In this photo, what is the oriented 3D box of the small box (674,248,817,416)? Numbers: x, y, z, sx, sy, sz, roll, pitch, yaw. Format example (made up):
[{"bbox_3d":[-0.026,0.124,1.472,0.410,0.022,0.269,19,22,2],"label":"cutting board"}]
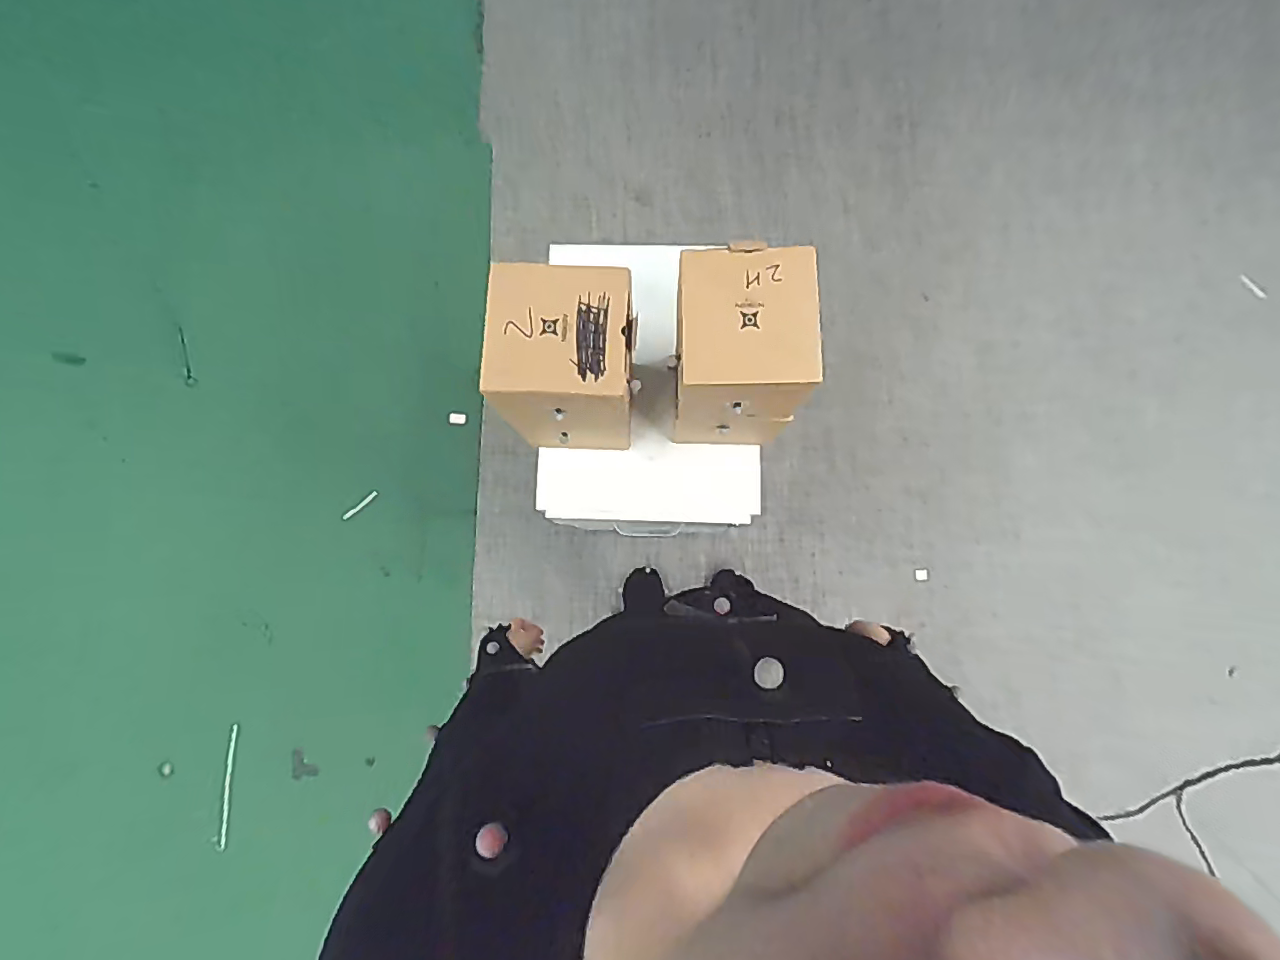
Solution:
[{"bbox_3d":[0.132,-0.188,0.732,0.168,0.176,0.179,0,81,1],"label":"small box"}]

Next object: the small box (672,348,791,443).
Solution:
[{"bbox_3d":[0.143,-0.159,0.895,0.179,0.176,0.168,1,81,2],"label":"small box"}]

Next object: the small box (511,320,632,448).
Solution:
[{"bbox_3d":[-0.105,-0.151,0.898,0.179,0.176,0.168,2,82,-1],"label":"small box"}]
